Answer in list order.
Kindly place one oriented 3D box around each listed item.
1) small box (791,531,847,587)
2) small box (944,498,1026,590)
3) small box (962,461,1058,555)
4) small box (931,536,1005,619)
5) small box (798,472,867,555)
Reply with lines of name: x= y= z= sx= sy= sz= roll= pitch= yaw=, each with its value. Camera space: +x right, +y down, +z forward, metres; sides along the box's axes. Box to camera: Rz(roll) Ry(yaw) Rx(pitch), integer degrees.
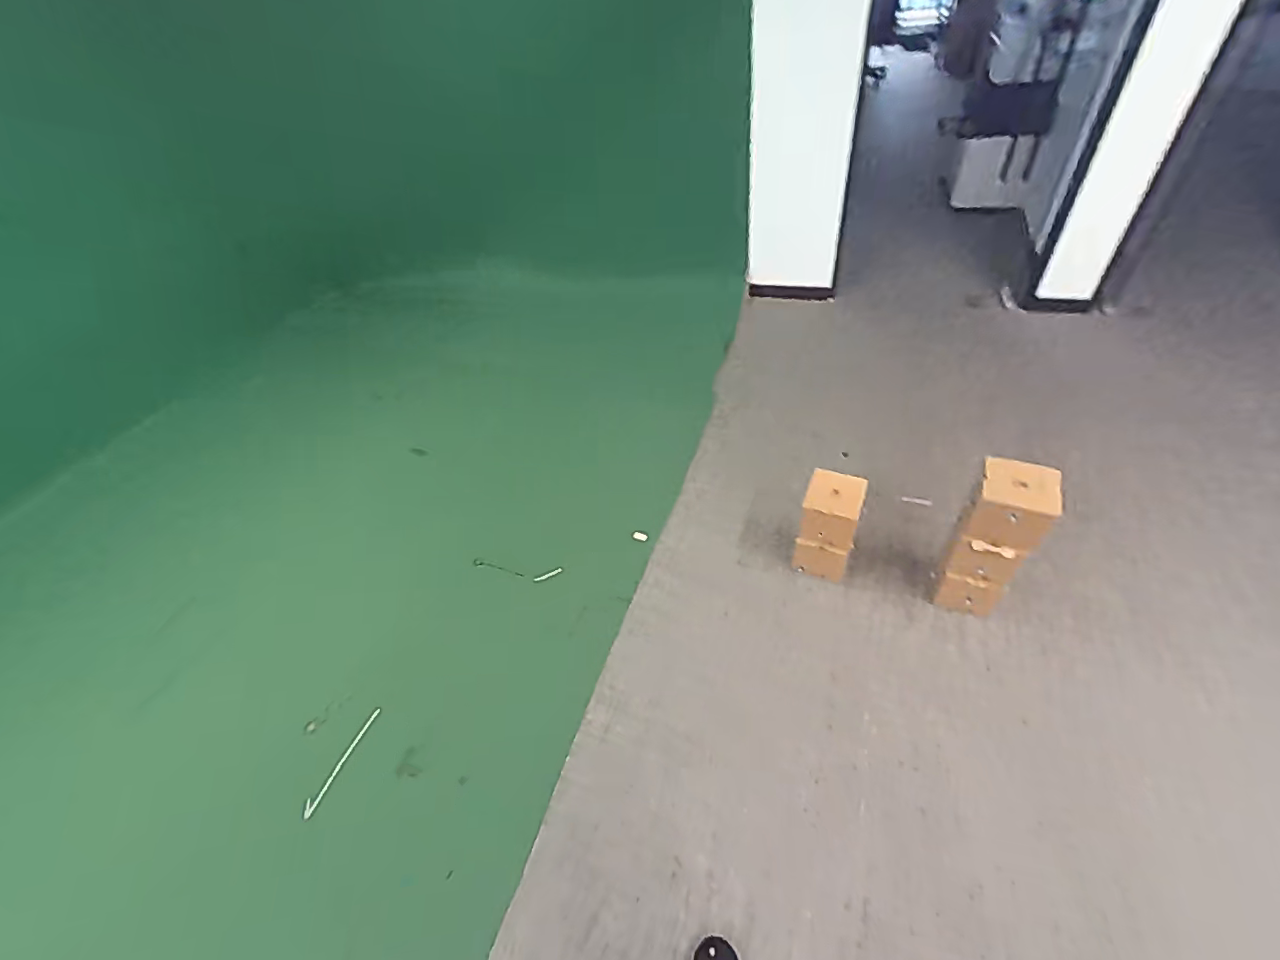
small box: x=0.622 y=0.238 z=1.853 sx=0.168 sy=0.176 sz=0.179 roll=14 pitch=50 yaw=21
small box: x=1.009 y=0.188 z=1.583 sx=0.168 sy=0.176 sz=0.179 roll=15 pitch=51 yaw=24
small box: x=0.995 y=0.077 z=1.464 sx=0.179 sy=0.176 sz=0.168 roll=16 pitch=51 yaw=23
small box: x=1.025 y=0.308 z=1.695 sx=0.168 sy=0.176 sz=0.179 roll=12 pitch=50 yaw=20
small box: x=0.611 y=0.106 z=1.732 sx=0.168 sy=0.176 sz=0.179 roll=15 pitch=51 yaw=21
